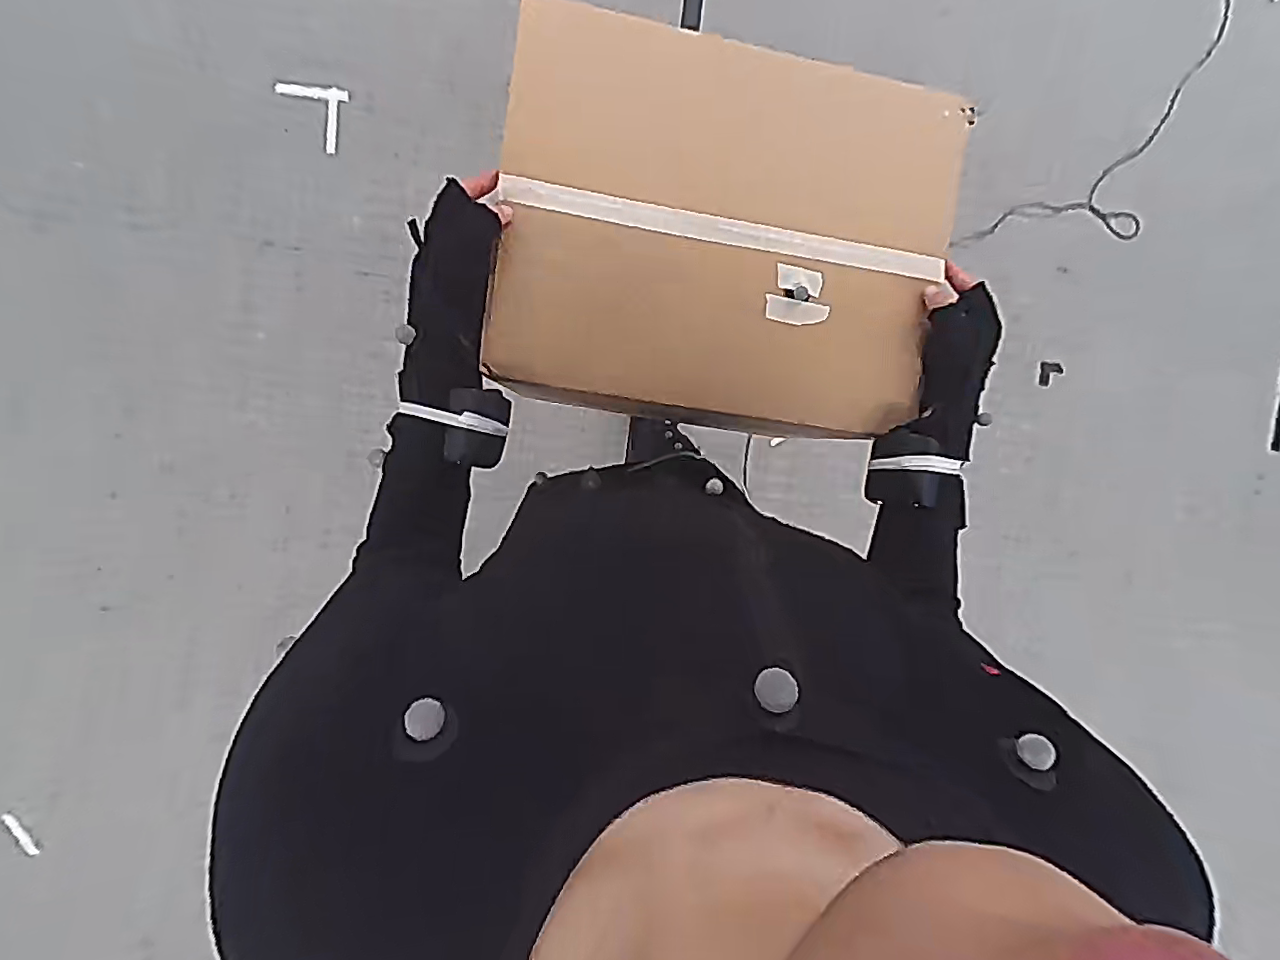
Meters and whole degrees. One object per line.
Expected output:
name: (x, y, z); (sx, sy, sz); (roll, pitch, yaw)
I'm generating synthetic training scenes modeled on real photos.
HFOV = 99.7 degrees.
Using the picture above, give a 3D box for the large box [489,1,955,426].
large box: (0.060, -0.241, 0.634); (0.408, 0.320, 0.320); (8, 96, -8)
